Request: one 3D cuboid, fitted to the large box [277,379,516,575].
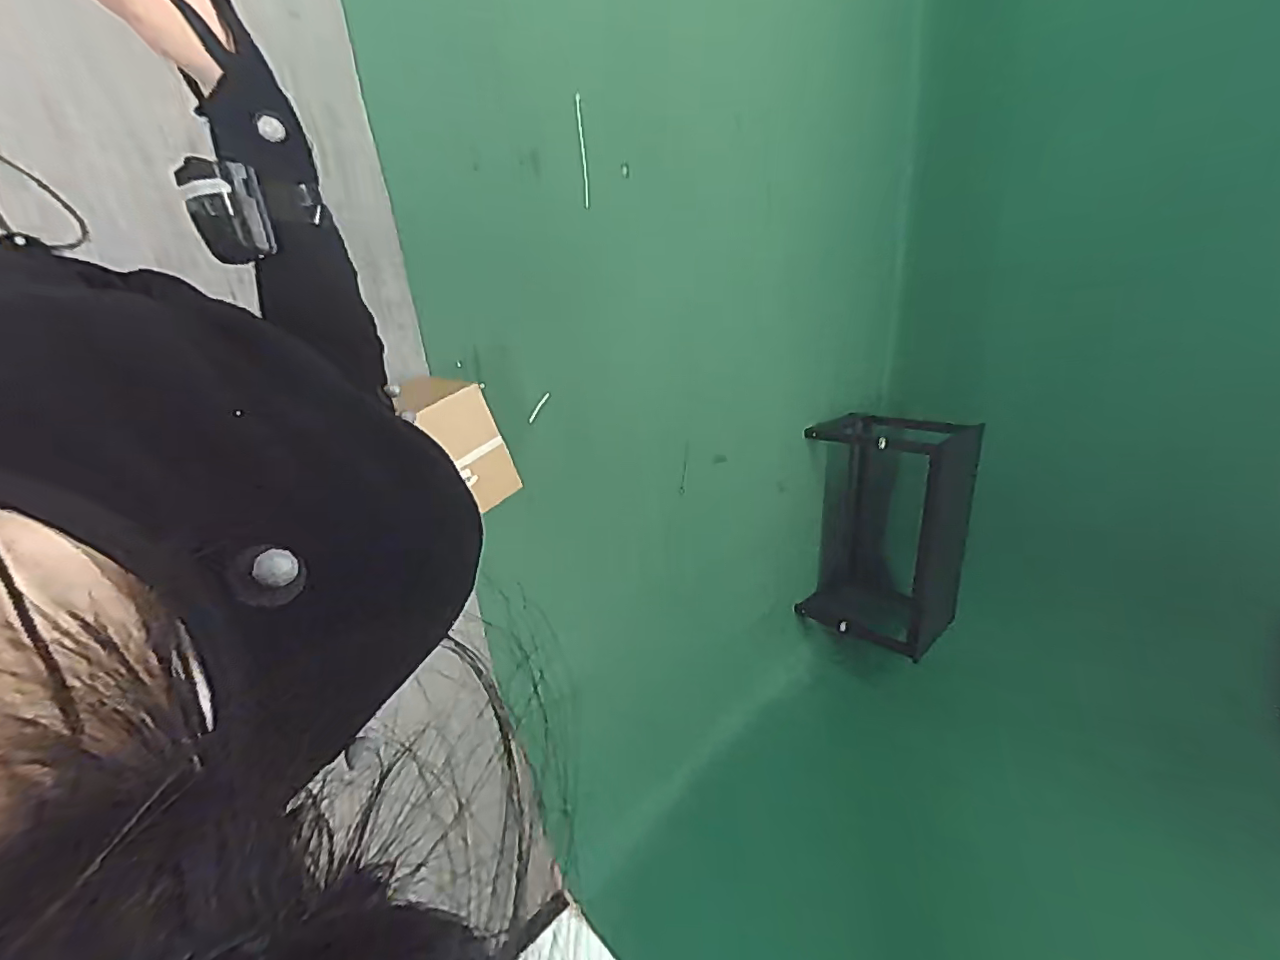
[{"bbox_3d":[-0.606,-0.032,1.379,0.408,0.320,0.320,-38,126,-33],"label":"large box"}]
